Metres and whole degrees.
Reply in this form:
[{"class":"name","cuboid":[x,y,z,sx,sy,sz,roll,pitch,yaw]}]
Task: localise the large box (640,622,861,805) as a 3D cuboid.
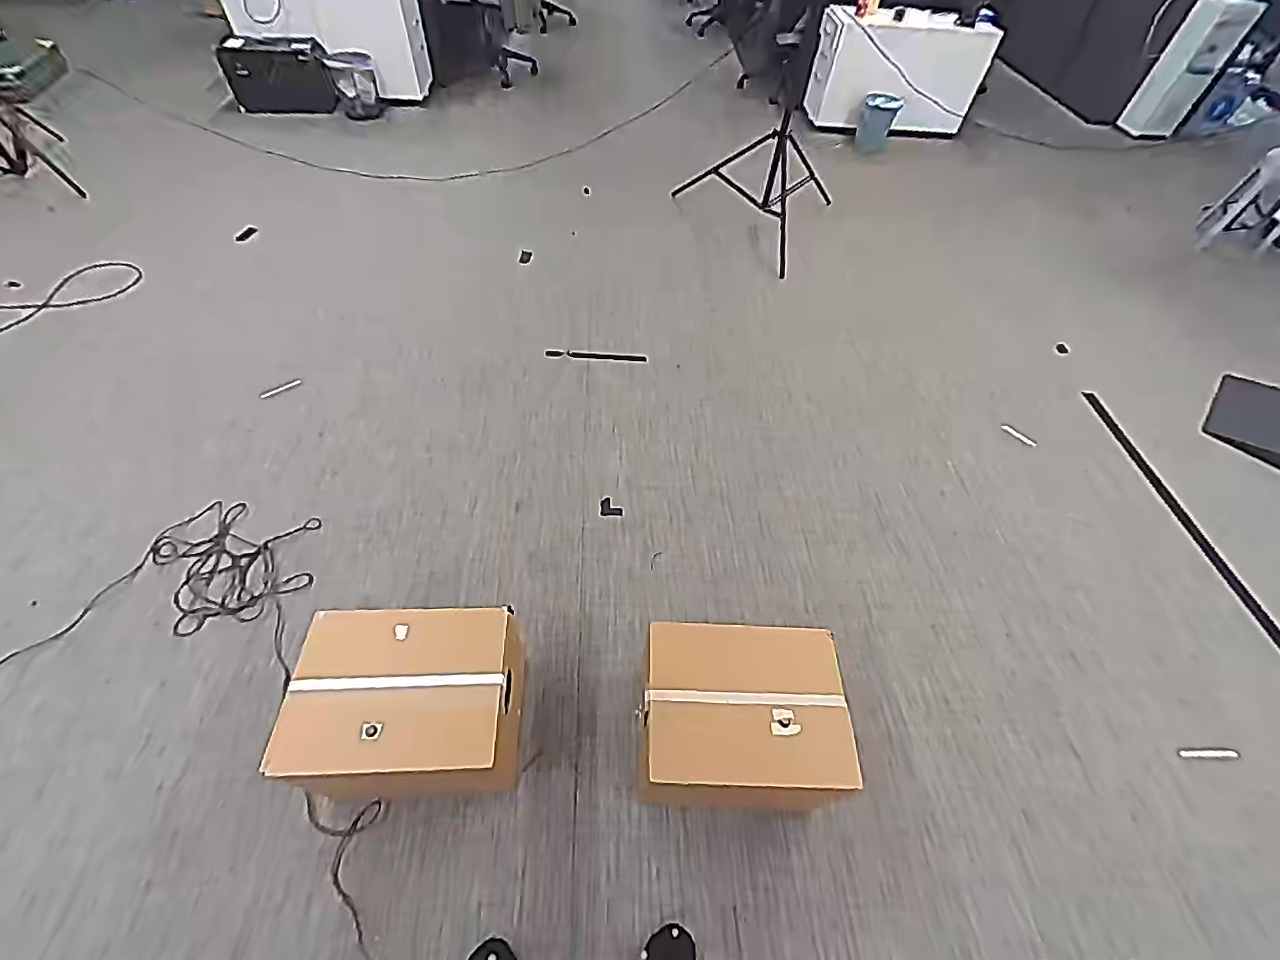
[{"class":"large box","cuboid":[0.211,0.533,1.218,0.408,0.320,0.320,4,53,-3]}]
